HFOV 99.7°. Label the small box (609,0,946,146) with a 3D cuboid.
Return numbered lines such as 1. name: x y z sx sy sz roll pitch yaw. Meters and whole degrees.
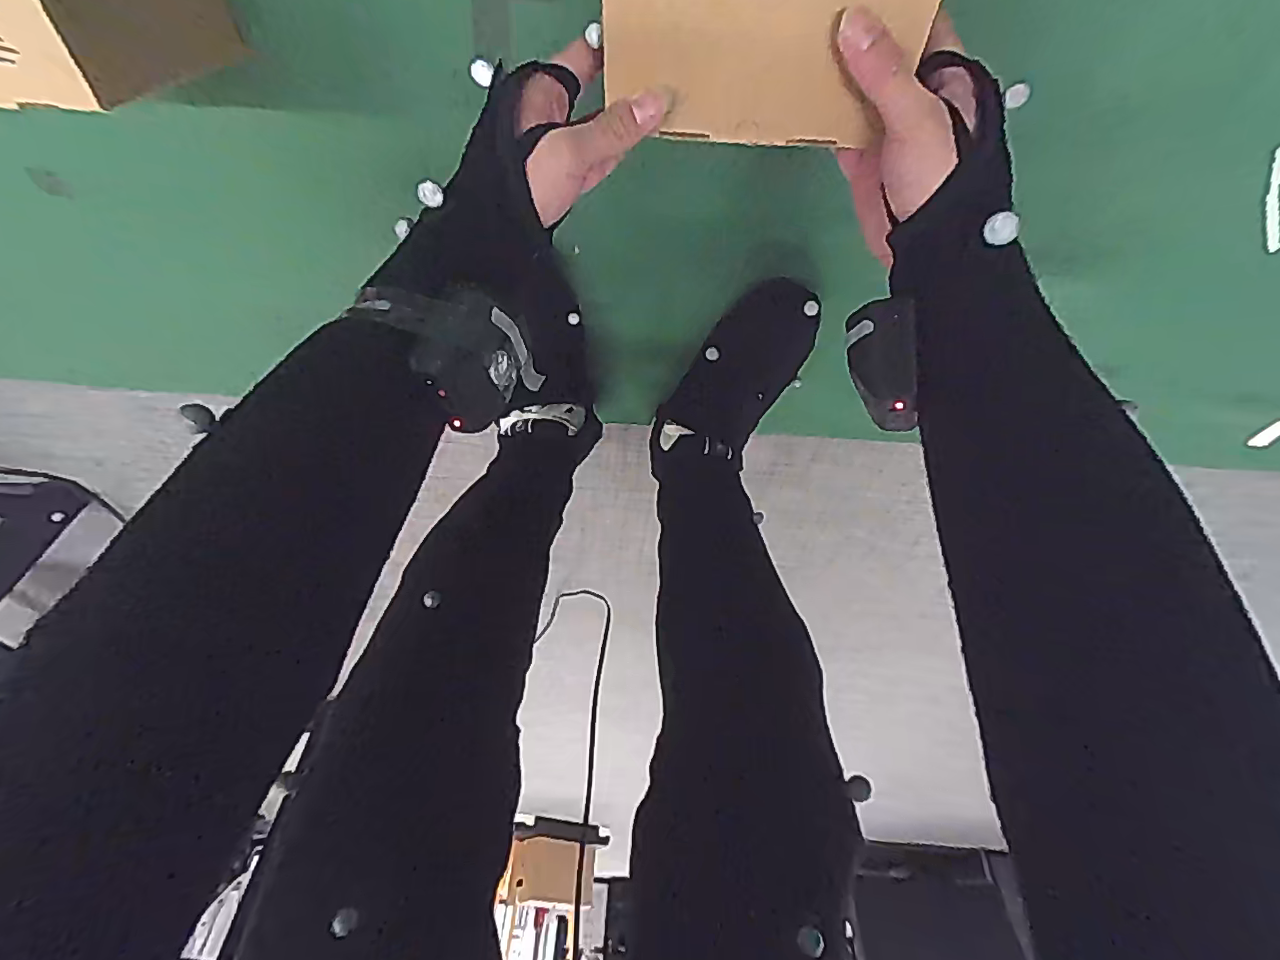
1. small box: 0.073 -0.313 0.294 0.168 0.176 0.179 5 141 2
